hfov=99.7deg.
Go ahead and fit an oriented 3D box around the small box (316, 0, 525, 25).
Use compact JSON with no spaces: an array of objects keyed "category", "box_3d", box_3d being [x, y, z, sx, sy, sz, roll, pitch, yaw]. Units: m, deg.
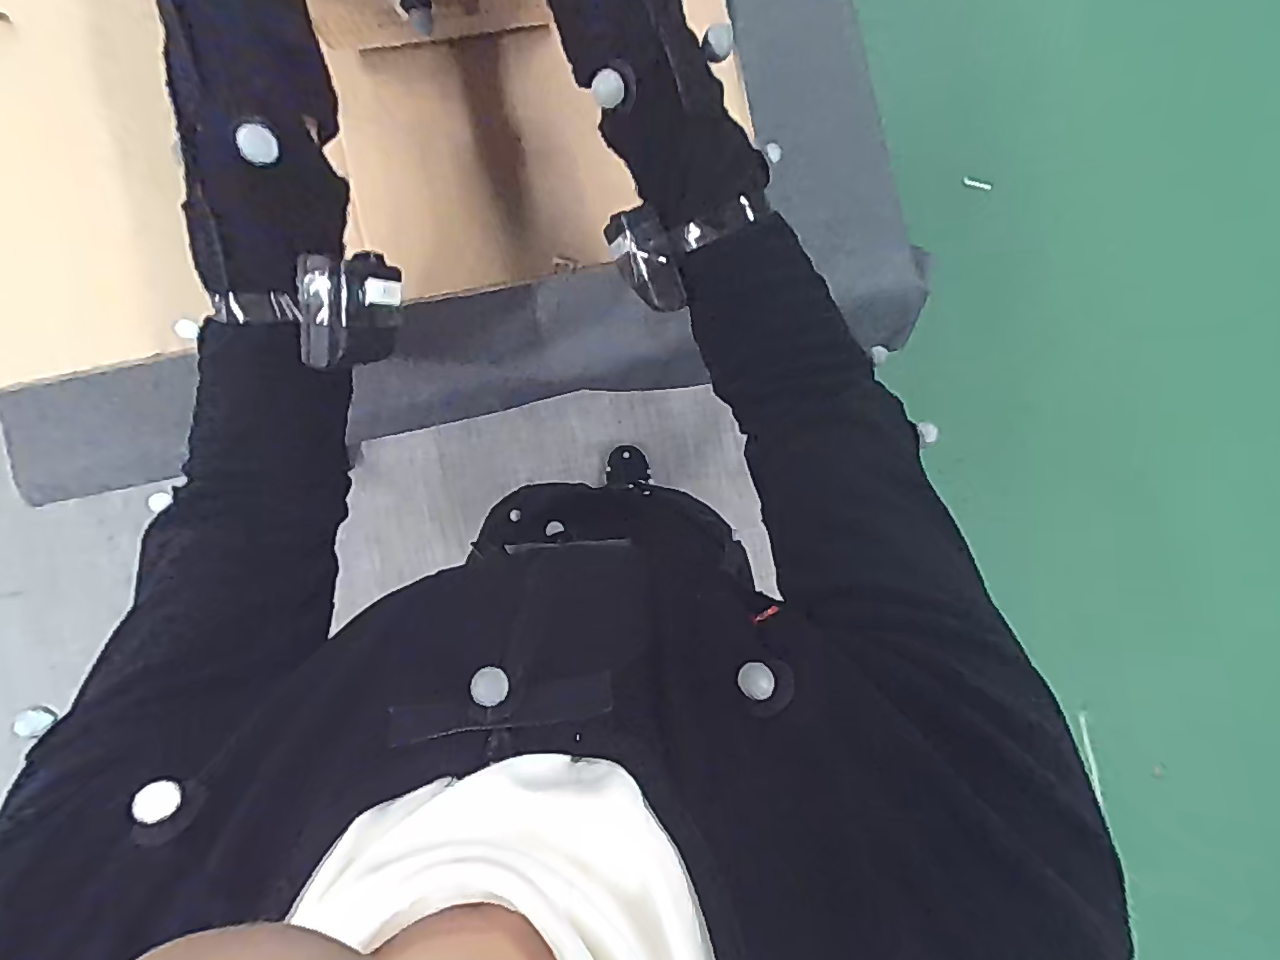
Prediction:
[{"category":"small box","box_3d":[-0.144,-0.393,0.275,0.168,0.176,0.179,-14,98,-4]}]
